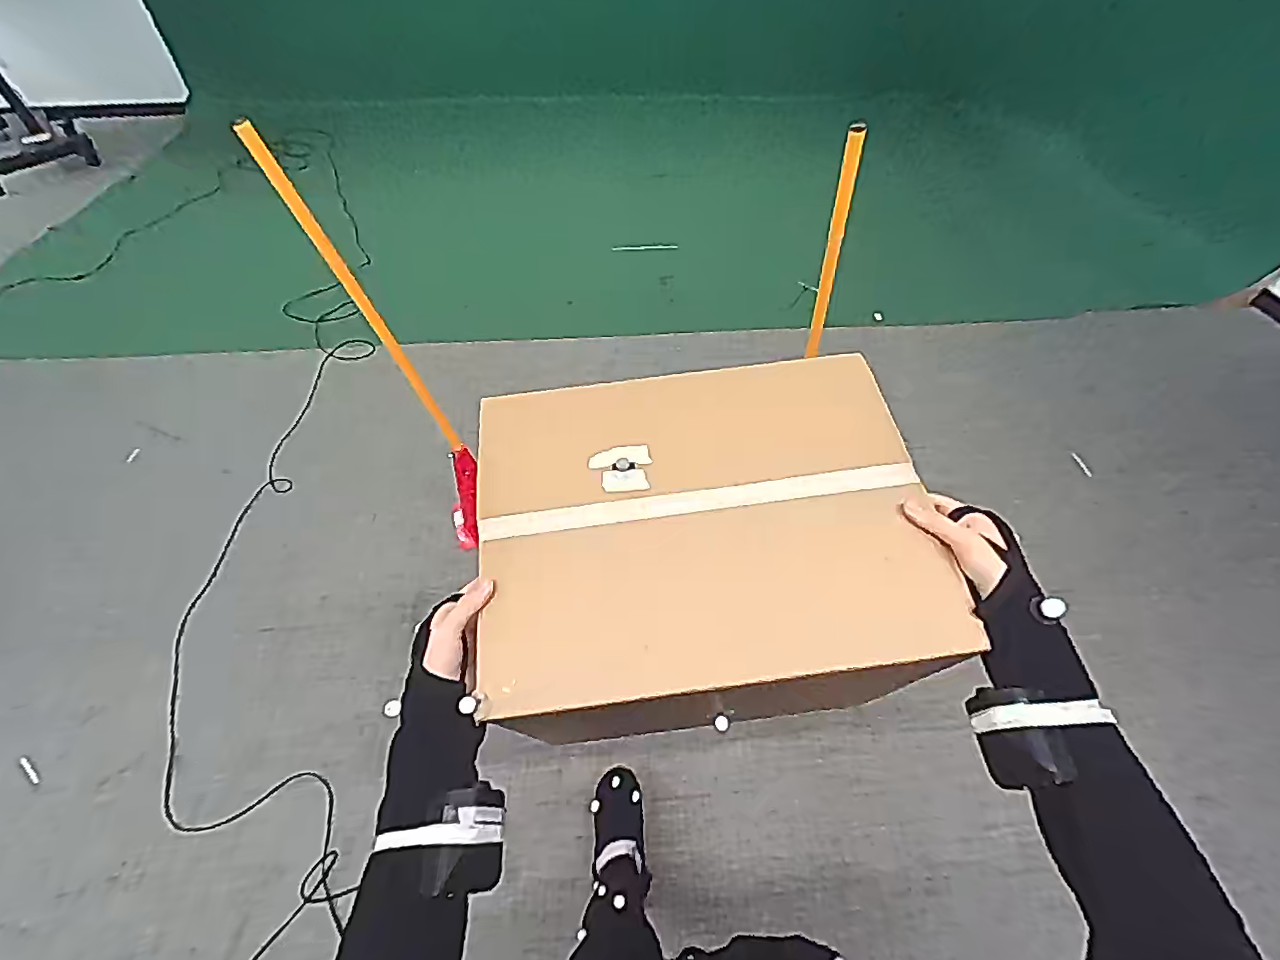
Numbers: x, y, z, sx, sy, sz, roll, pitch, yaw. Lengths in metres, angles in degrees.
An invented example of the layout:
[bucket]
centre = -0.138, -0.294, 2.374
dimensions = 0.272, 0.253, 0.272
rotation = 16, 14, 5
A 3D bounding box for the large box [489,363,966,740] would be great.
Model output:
[large box]
centre = 0.065, 0.104, 0.641
dimensions = 0.408, 0.320, 0.320
rotation = -8, 59, -1
